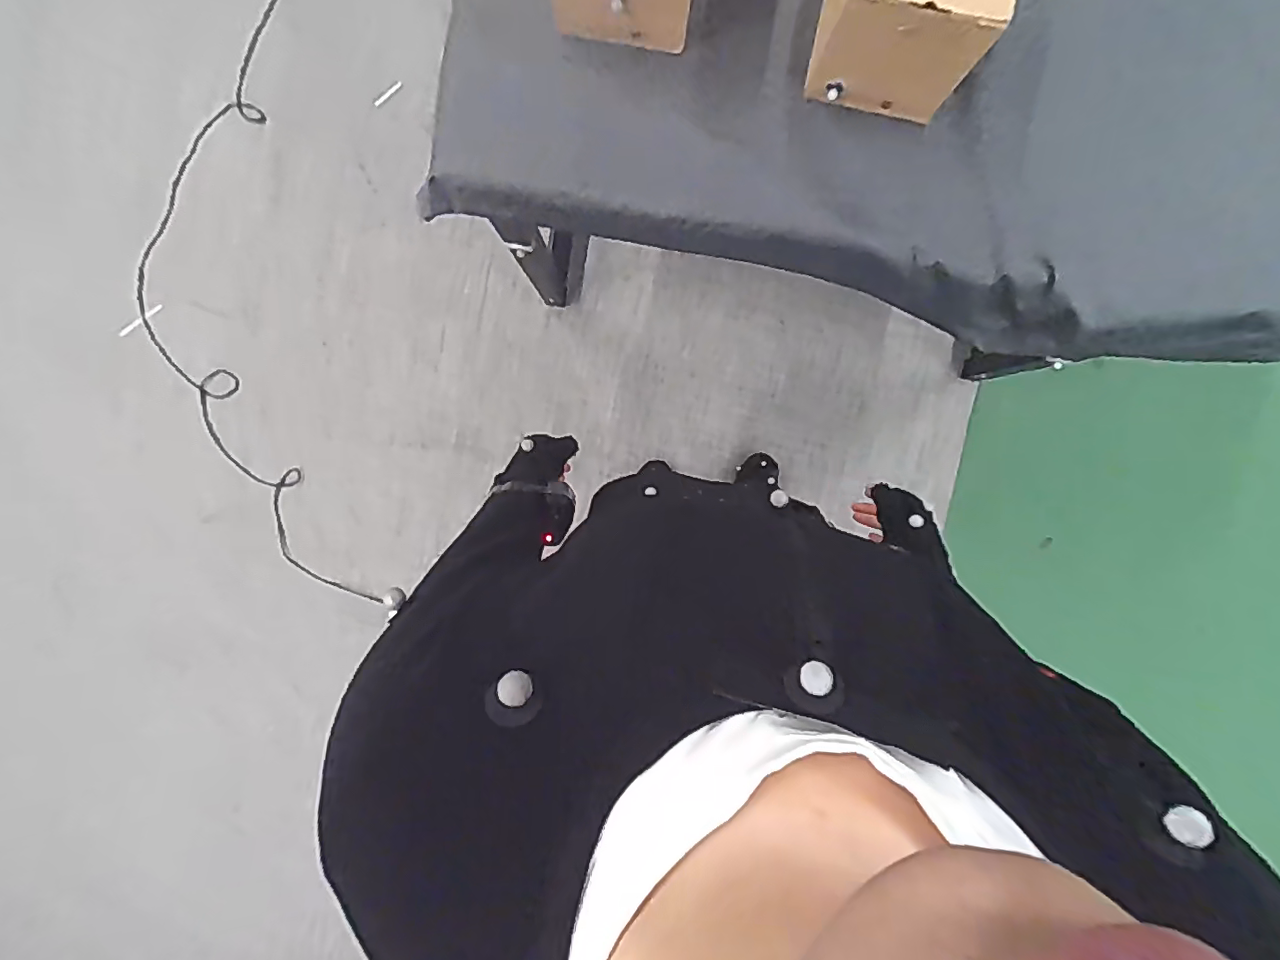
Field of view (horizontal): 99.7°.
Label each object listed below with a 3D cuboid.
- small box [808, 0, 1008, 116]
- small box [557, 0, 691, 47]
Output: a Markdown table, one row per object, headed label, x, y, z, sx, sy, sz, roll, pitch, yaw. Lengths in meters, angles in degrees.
| label | x | y | z | sx | sy | sz | roll | pitch | yaw |
| --- | --- | --- | --- | --- | --- | --- | --- | --- | --- |
| small box | 0.308 | -0.566 | 0.624 | 0.168 | 0.176 | 0.179 | 12 | 93 | 0 |
| small box | -0.012 | -0.650 | 0.621 | 0.168 | 0.176 | 0.179 | 9 | 94 | 0 |
